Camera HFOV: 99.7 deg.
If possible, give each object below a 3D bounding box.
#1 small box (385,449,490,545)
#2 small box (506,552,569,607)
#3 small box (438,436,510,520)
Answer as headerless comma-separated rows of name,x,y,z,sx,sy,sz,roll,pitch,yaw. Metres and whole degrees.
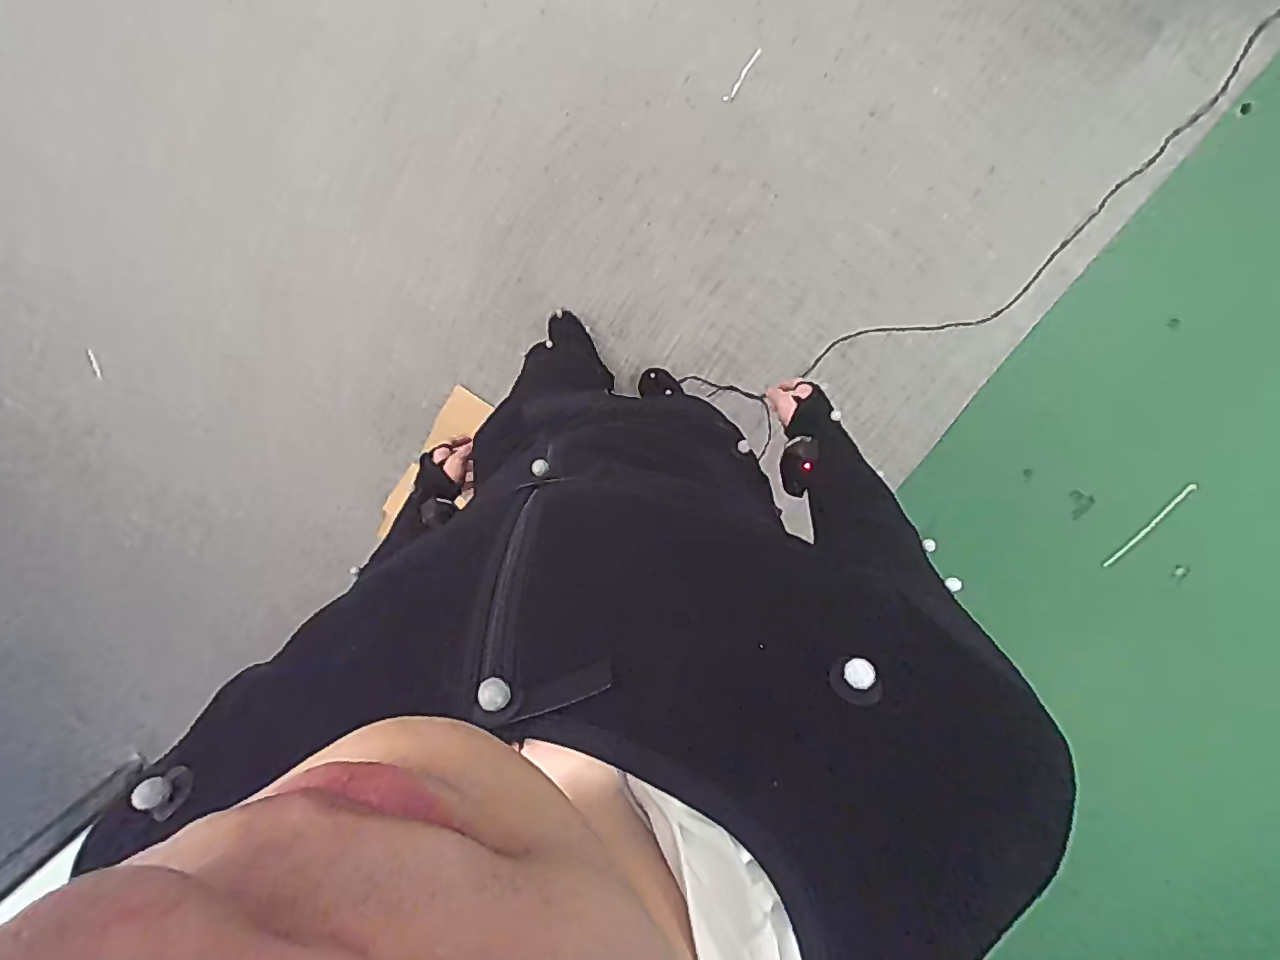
small box,-0.538,0.039,1.464,0.179,0.176,0.168,38,107,-7
small box,-0.350,0.350,1.713,0.179,0.176,0.168,34,108,-6
small box,-0.523,-0.014,1.618,0.179,0.176,0.168,36,108,-6
